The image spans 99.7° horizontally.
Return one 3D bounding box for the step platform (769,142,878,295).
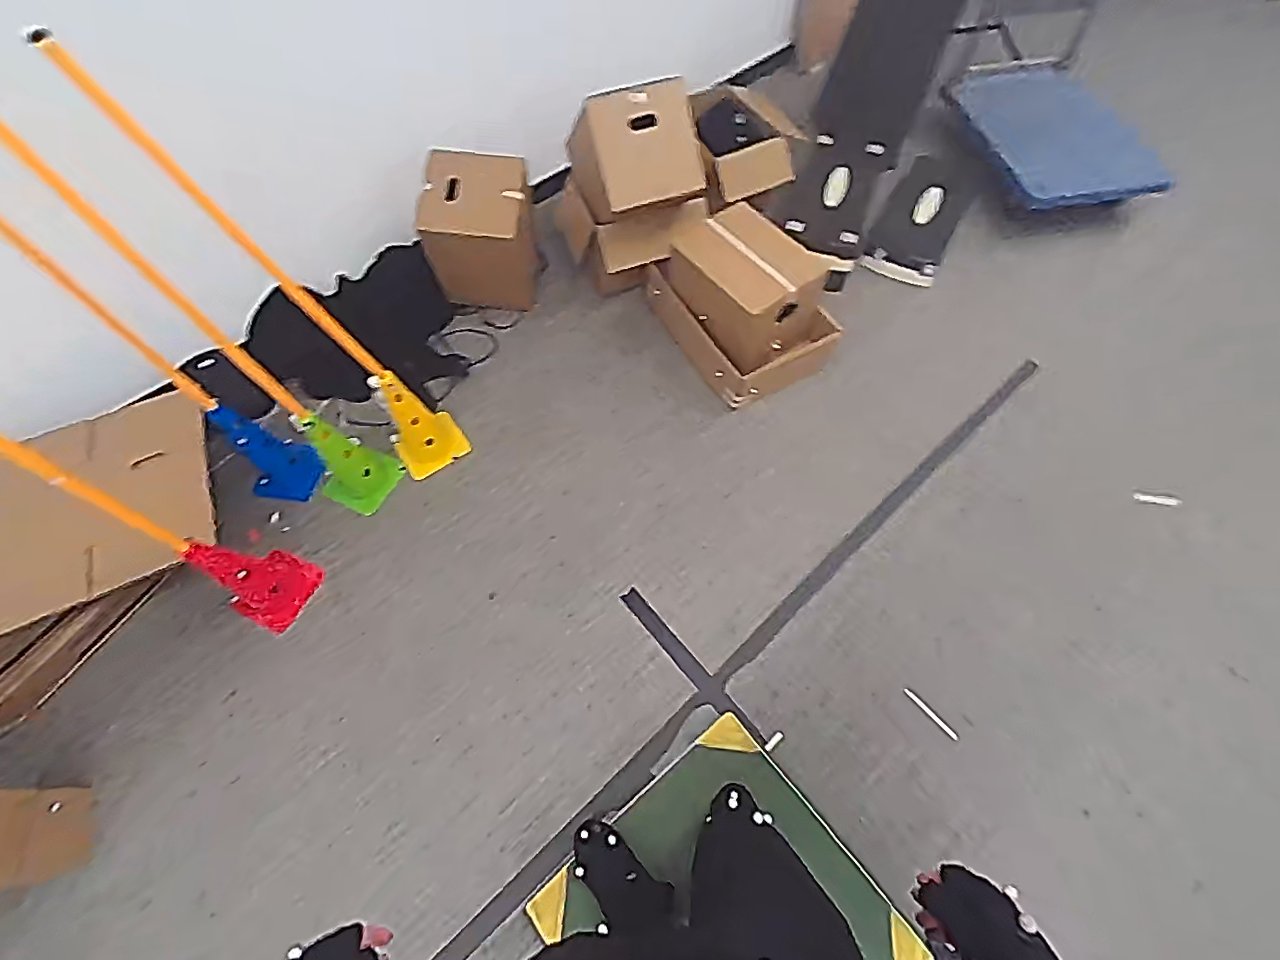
[{"bbox_3d":[0.731,-1.051,2.140,0.286,0.204,0.684,17,65,10],"label":"step platform"}]
